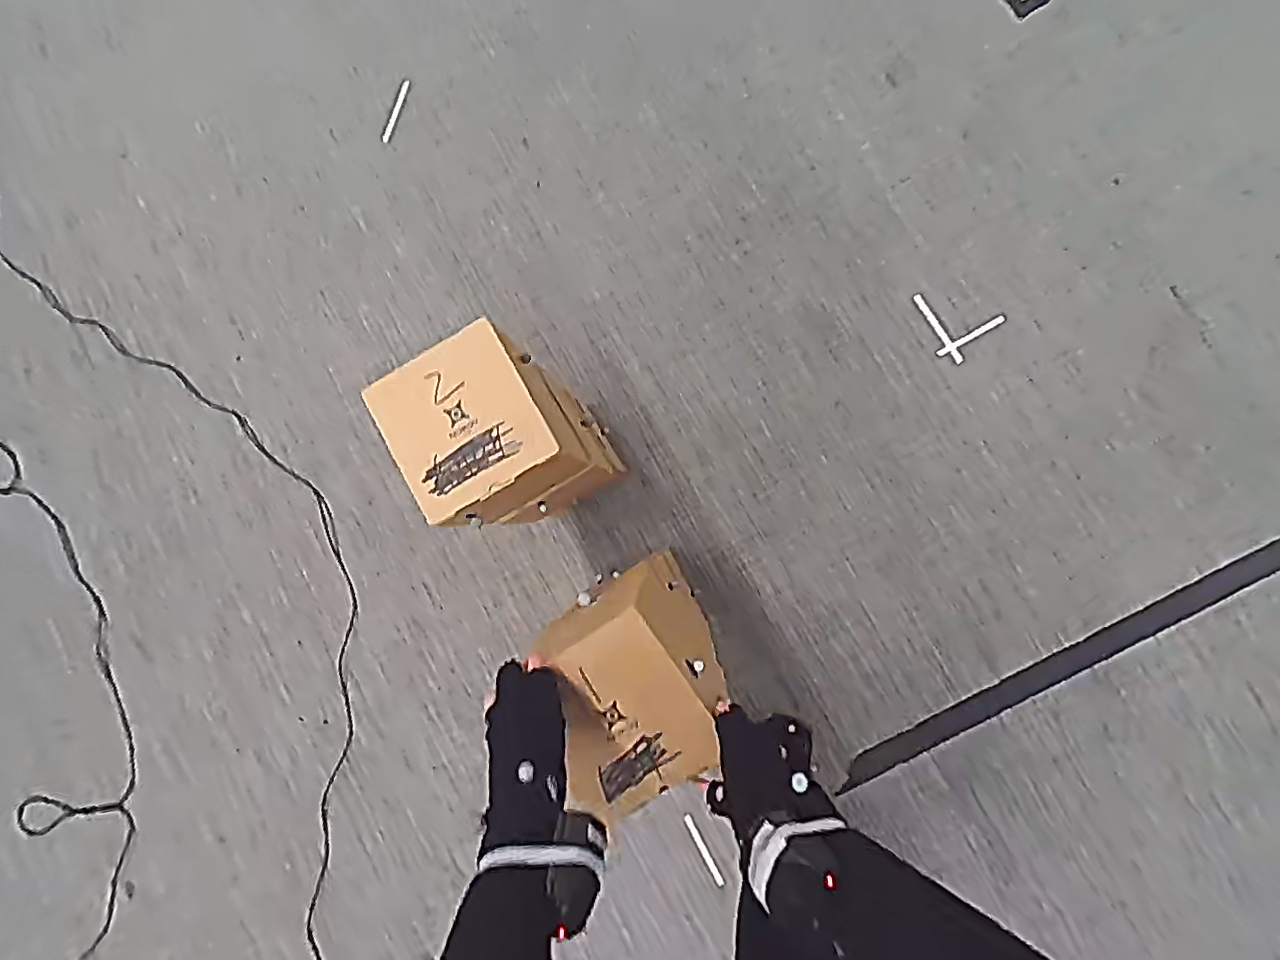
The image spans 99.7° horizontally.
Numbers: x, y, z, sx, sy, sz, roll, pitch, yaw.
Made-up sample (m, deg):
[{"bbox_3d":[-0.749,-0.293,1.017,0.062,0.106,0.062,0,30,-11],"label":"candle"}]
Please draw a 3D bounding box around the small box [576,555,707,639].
[{"bbox_3d":[0.011,0.247,0.961,0.179,0.176,0.168,-28,85,2],"label":"small box"}]

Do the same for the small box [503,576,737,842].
[{"bbox_3d":[-0.014,0.235,0.597,0.168,0.176,0.179,-35,93,8],"label":"small box"}]

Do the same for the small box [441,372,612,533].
[{"bbox_3d":[-0.162,-0.032,0.827,0.168,0.176,0.179,-32,84,3],"label":"small box"}]

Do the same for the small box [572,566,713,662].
[{"bbox_3d":[0.001,0.245,0.799,0.168,0.176,0.179,-32,85,3],"label":"small box"}]

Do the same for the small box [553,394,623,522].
[{"bbox_3d":[-0.148,-0.029,0.991,0.179,0.176,0.168,-32,85,2],"label":"small box"}]
